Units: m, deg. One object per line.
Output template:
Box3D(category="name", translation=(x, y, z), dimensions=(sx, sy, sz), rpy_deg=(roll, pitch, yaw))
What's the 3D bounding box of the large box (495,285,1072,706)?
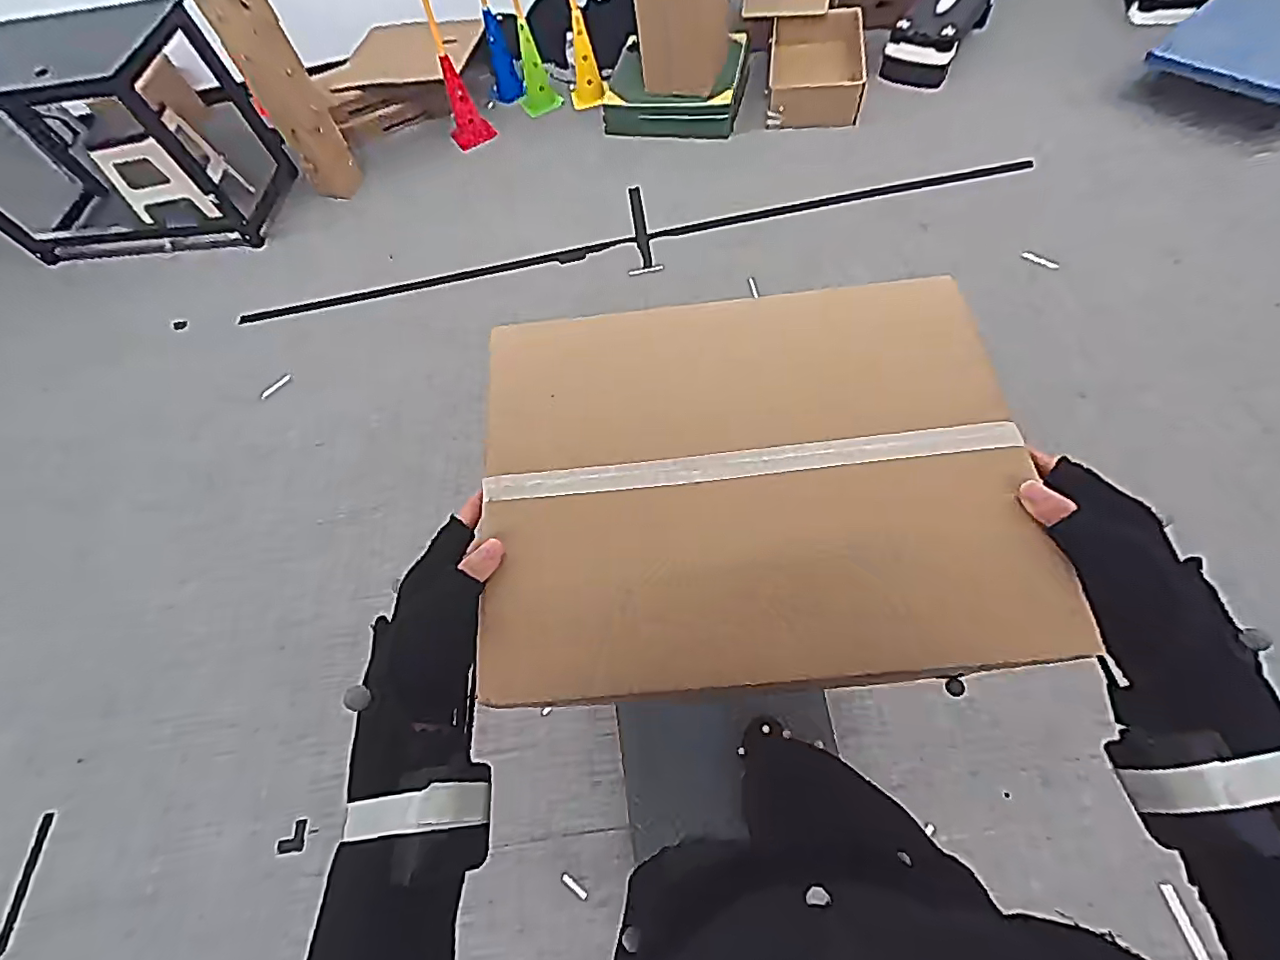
Box3D(category="large box", translation=(0.096, 0.047, 0.562), dimensions=(0.408, 0.320, 0.320), rpy_deg=(-6, 67, 3))
